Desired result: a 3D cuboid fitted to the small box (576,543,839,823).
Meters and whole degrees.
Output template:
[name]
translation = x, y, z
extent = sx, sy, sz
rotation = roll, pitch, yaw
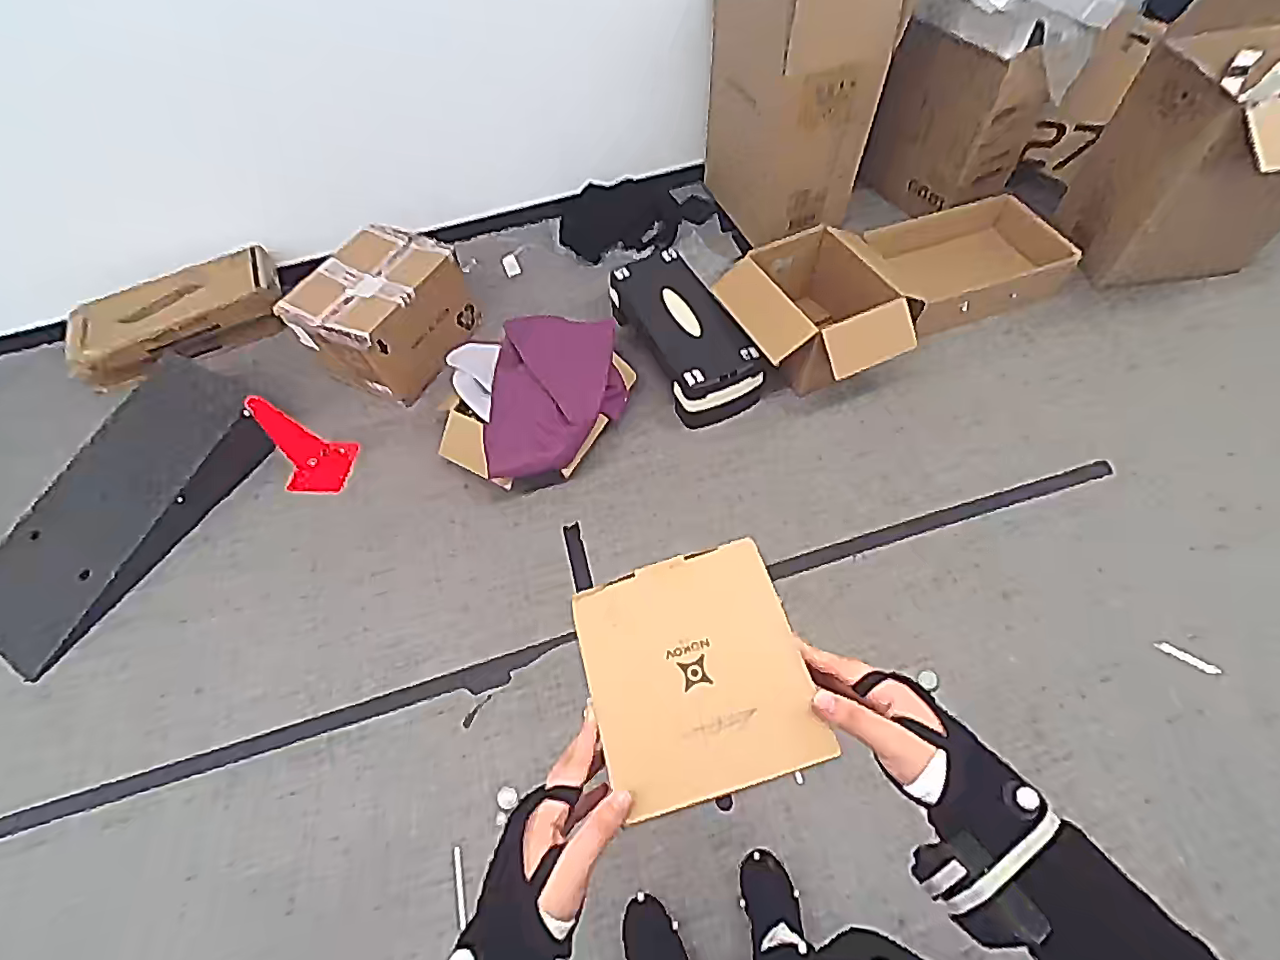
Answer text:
[small box]
translation = 0.054, 0.184, 0.494
extent = 0.168, 0.176, 0.179
rotation = -18, 63, 1
